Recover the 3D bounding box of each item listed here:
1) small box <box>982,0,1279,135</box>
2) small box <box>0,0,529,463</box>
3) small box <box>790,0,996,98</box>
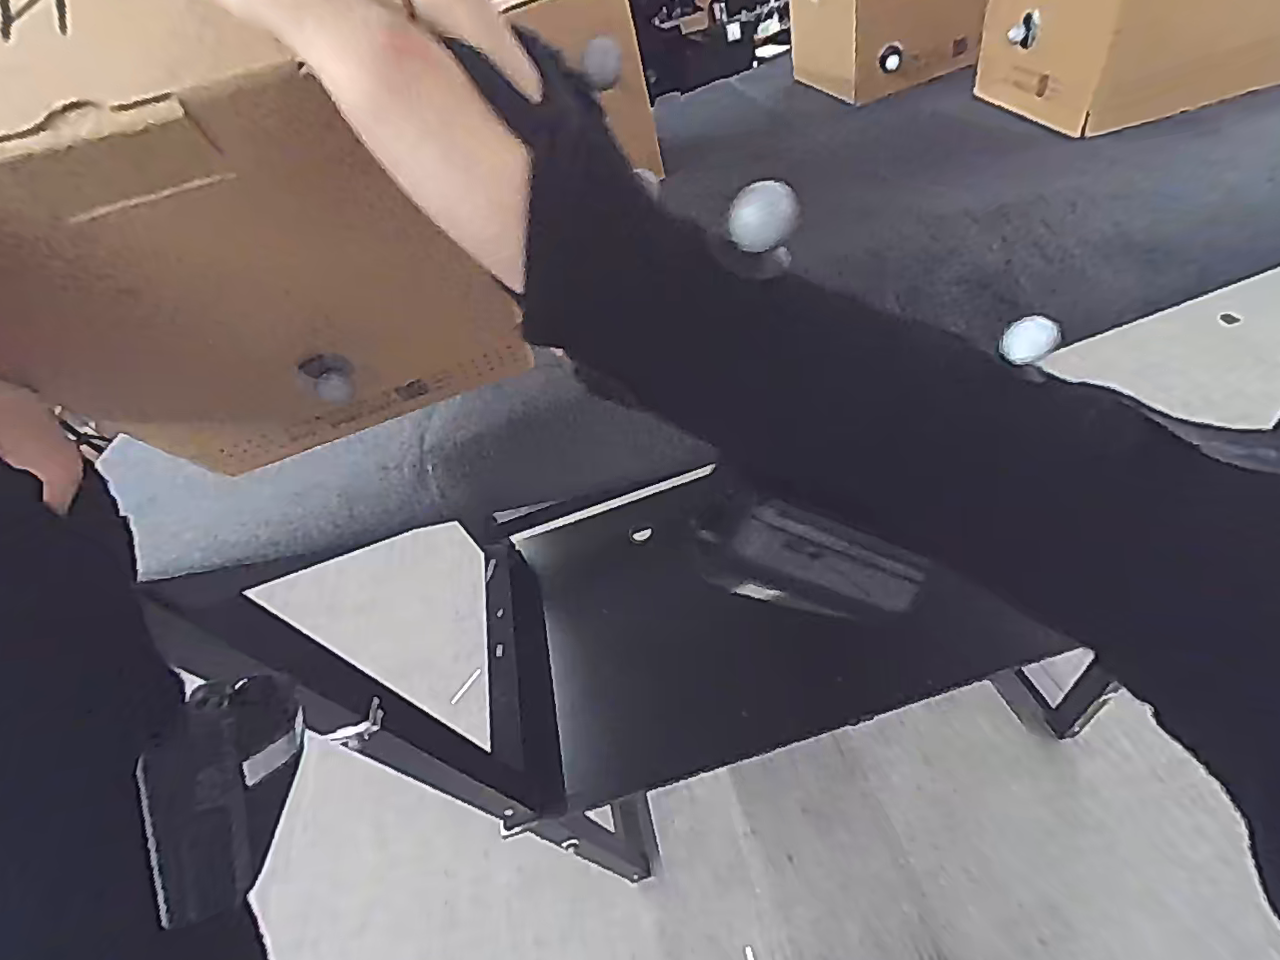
[{"bbox_3d":[0.366,-0.366,0.361,0.179,0.176,0.168,-13,44,10],"label":"small box"},{"bbox_3d":[-0.161,-0.133,0.226,0.168,0.176,0.179,-22,74,-7],"label":"small box"},{"bbox_3d":[0.258,-0.514,0.543,0.168,0.176,0.179,-18,44,4],"label":"small box"}]
